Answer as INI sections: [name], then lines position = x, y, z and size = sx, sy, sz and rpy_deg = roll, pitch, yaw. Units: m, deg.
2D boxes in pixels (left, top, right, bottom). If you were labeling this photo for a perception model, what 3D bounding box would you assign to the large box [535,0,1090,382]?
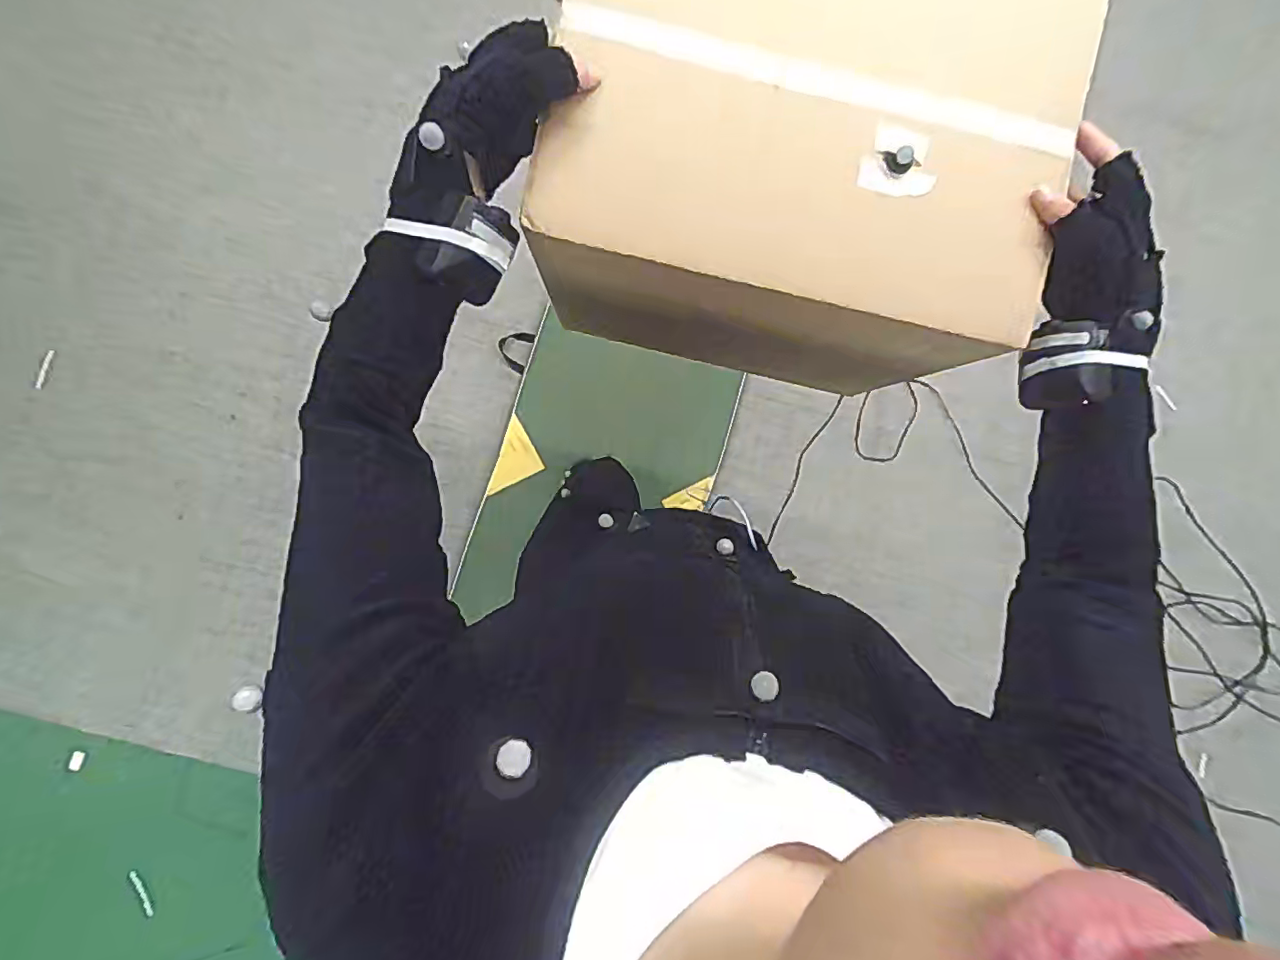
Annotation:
[large box]
position = 0.129, -0.312, 0.565
size = 0.408, 0.320, 0.320
rpy_deg = 12, 92, -4
